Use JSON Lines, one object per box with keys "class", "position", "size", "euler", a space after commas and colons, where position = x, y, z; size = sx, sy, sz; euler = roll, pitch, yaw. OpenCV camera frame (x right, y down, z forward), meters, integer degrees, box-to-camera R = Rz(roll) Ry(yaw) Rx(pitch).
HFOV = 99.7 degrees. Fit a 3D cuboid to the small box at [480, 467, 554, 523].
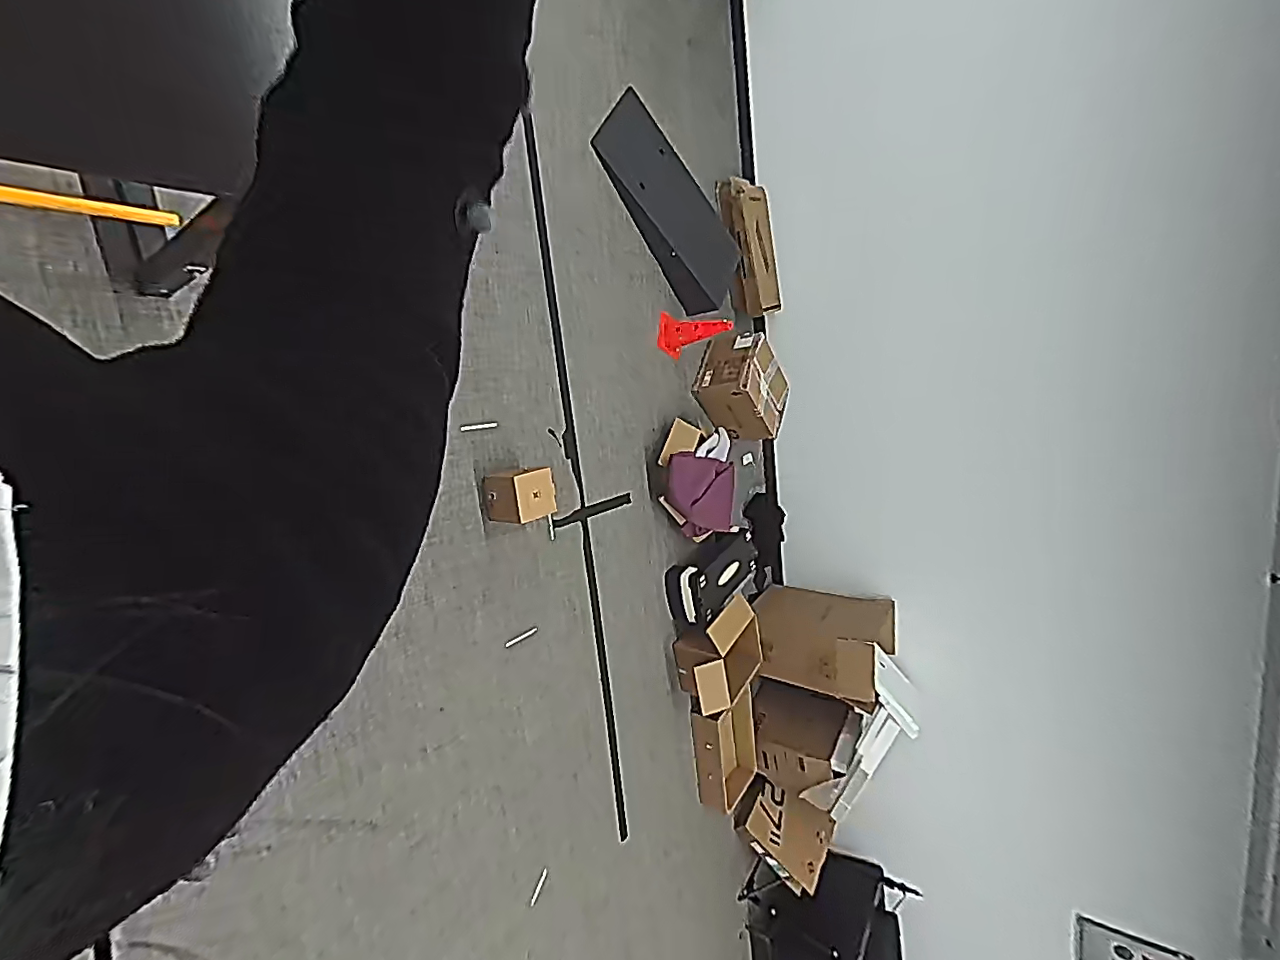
{"class": "small box", "position": [-0.434, 0.047, 1.905], "size": [0.179, 0.176, 0.168], "euler": [-20, 106, -51]}
